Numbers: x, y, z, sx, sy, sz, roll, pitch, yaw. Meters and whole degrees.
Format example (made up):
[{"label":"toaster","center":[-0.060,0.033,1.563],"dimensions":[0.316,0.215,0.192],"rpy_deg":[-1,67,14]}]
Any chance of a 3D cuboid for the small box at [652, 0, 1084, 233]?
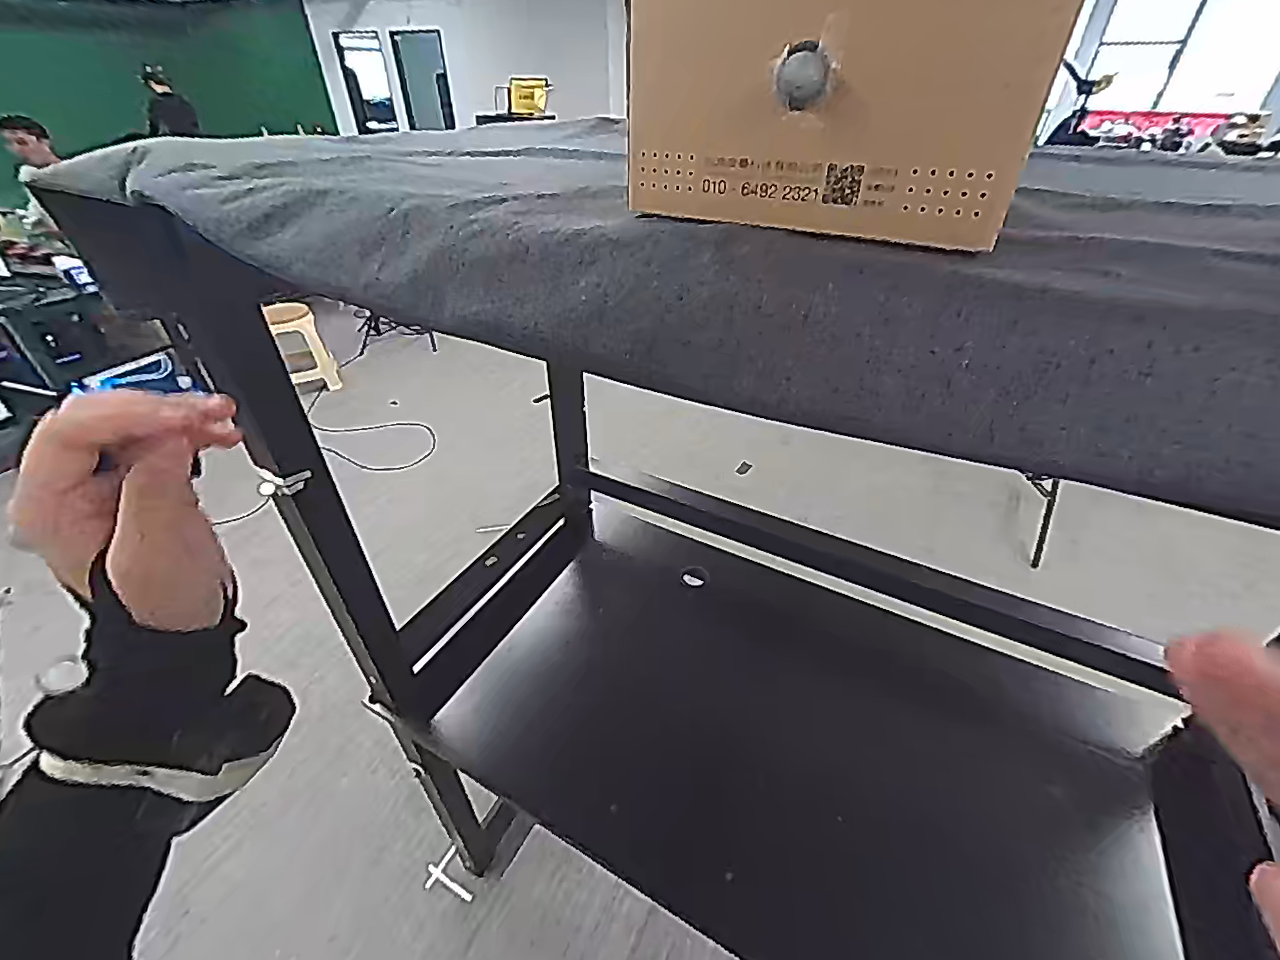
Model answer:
[{"label":"small box","center":[0.111,-0.228,0.257],"dimensions":[0.168,0.176,0.179],"rpy_deg":[18,38,23]}]
